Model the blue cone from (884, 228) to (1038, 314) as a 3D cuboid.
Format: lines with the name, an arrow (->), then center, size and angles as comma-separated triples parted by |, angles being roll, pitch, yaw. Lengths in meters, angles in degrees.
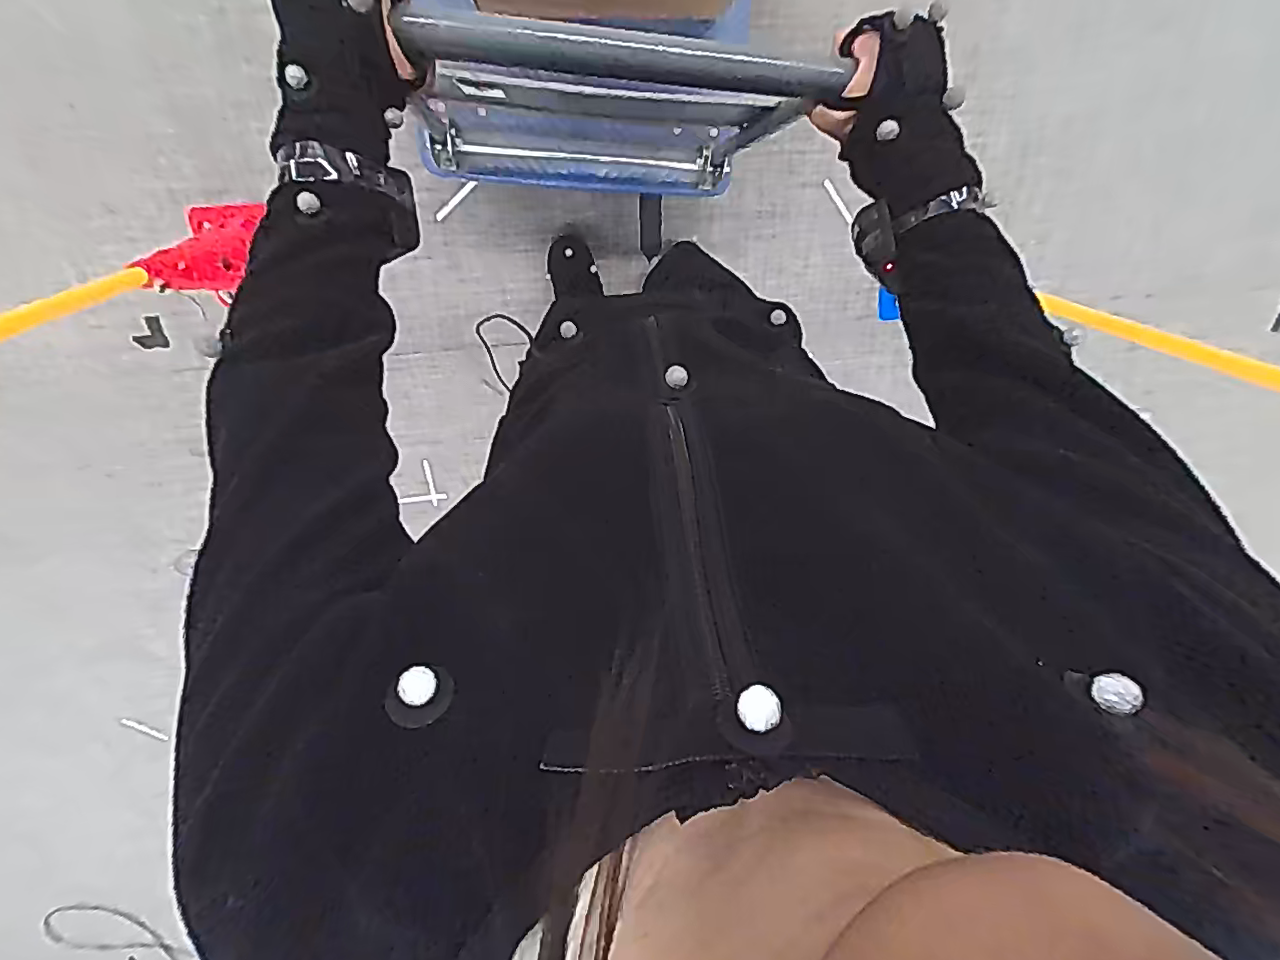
blue cone -> 0.727, -0.451, 1.212 | 0.193, 0.380, 0.192 | -9, 116, -5
